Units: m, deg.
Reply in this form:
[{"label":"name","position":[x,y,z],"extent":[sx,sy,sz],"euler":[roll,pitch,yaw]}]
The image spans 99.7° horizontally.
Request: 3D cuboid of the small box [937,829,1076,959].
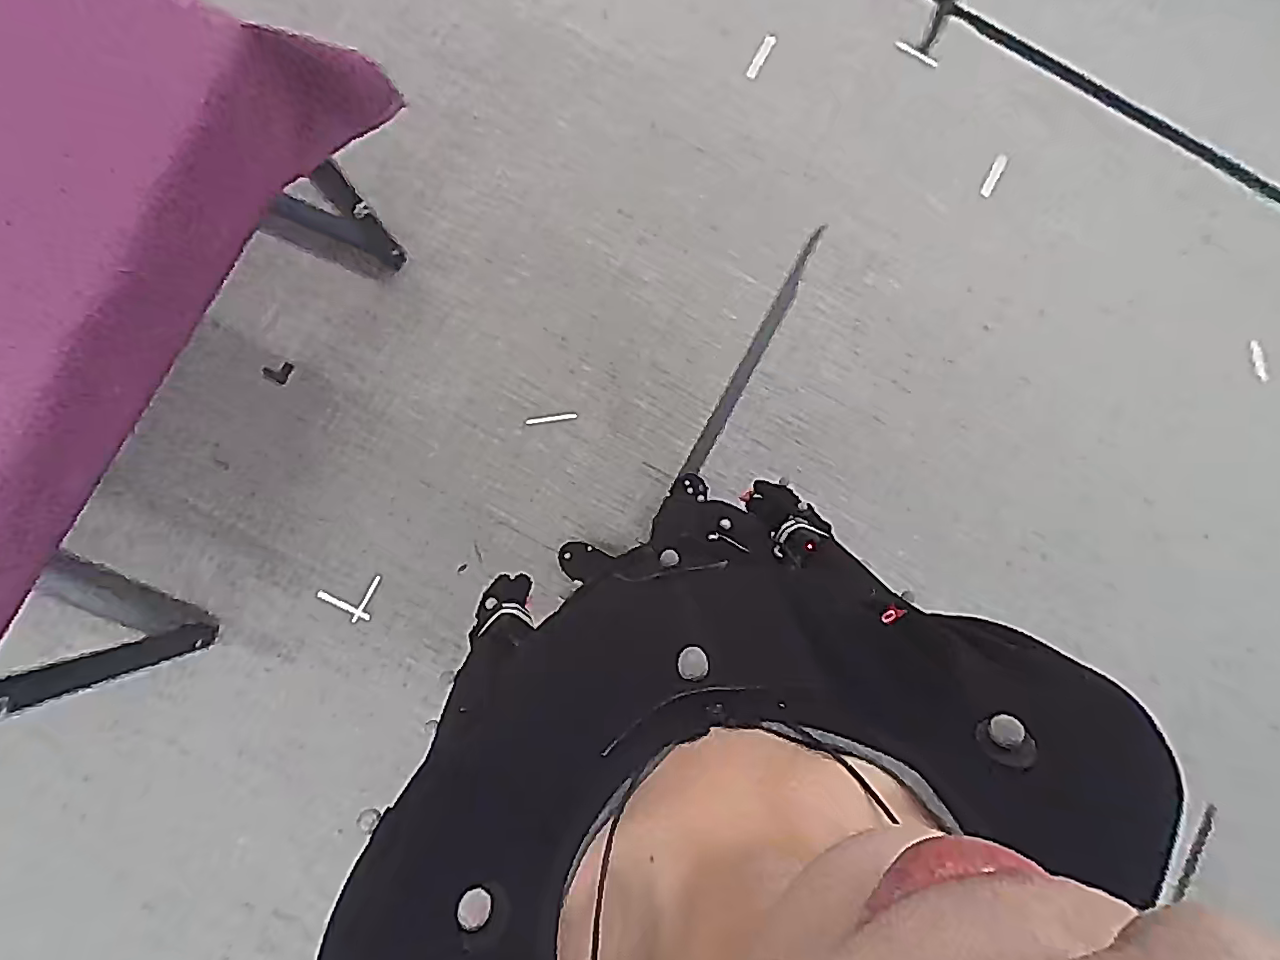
[{"label":"small box","position":[0.825,0.953,1.237],"extent":[0.168,0.176,0.179],"euler":[33,84,1]}]
